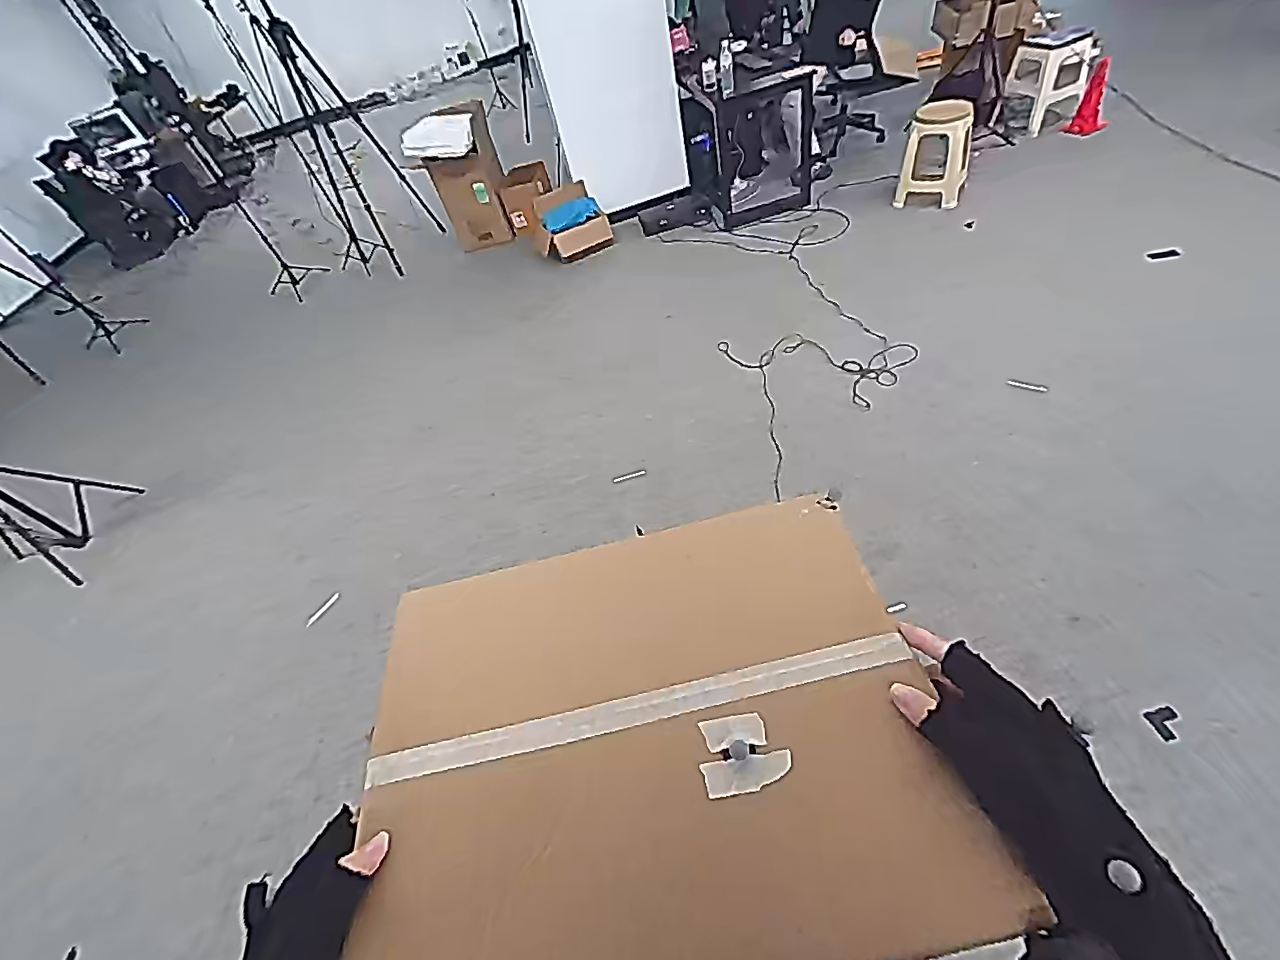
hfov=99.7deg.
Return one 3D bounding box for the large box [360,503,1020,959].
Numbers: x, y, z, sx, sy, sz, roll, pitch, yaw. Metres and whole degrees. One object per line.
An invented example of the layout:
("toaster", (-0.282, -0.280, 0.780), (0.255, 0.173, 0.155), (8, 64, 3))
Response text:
("large box", (0.026, 0.276, 0.514), (0.408, 0.320, 0.320), (-14, 46, 1))
